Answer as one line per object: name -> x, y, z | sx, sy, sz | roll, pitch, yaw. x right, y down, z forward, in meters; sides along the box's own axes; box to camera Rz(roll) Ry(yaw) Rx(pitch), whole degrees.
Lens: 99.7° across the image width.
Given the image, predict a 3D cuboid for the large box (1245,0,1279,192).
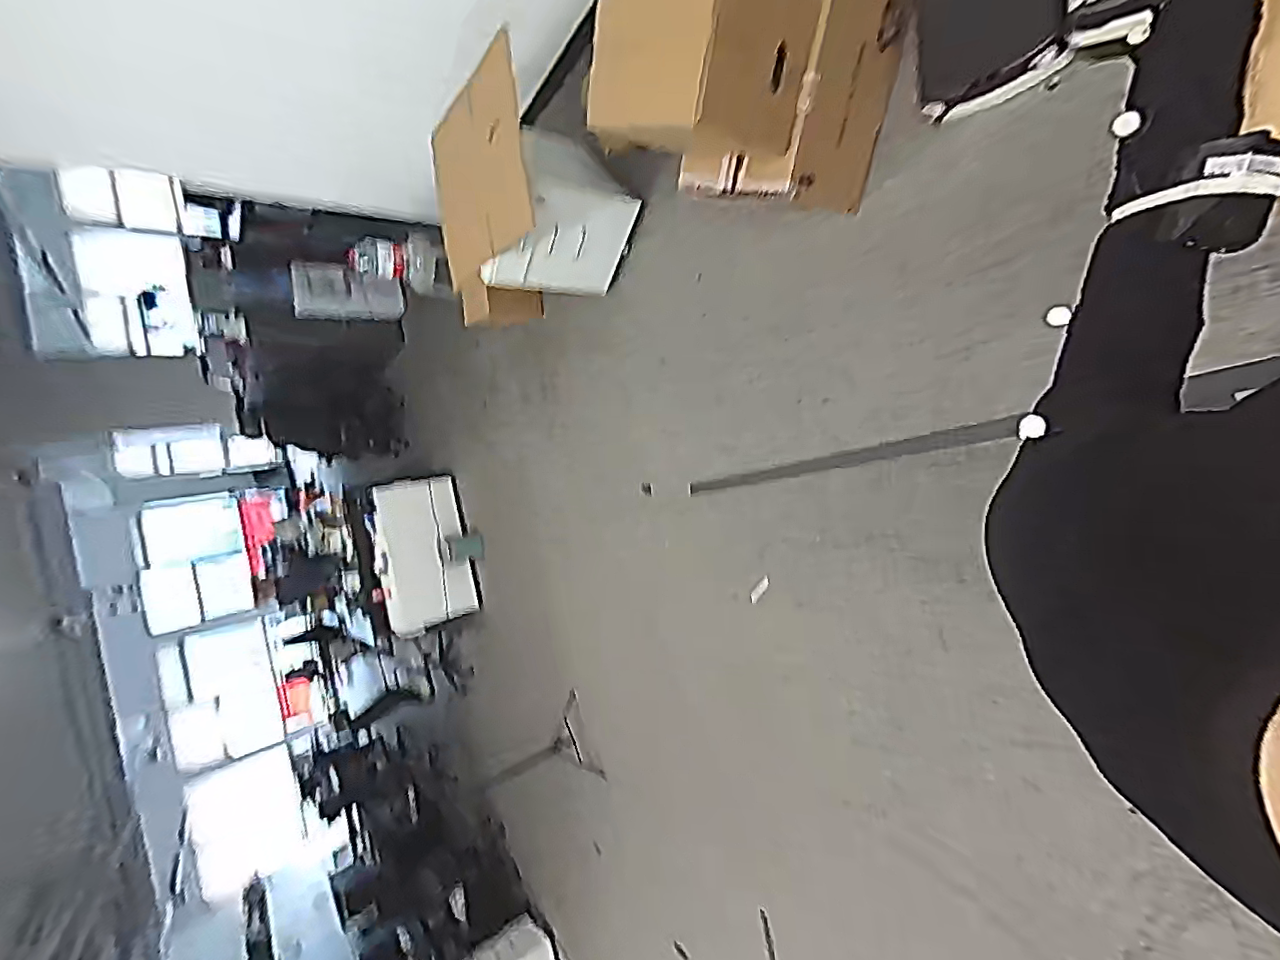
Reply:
large box -> 0.657, -0.371, 0.282 | 0.408, 0.320, 0.320 | 15, 112, 53
